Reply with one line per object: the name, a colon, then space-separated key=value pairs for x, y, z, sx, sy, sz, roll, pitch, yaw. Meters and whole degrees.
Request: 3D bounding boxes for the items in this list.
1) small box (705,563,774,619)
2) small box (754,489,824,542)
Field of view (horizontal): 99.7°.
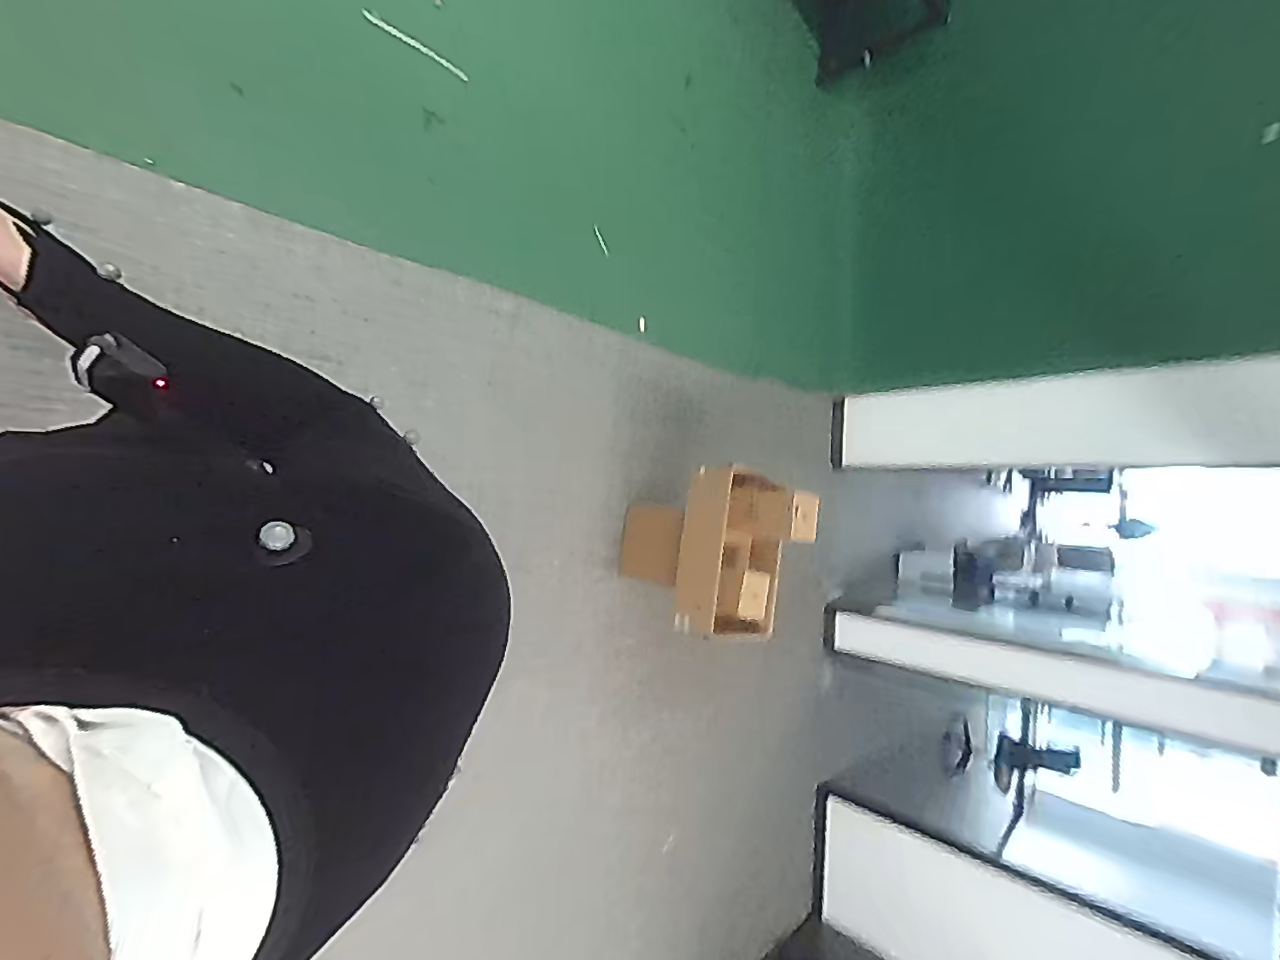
small box: x=0.370 y=0.411 z=2.015 sx=0.179 sy=0.176 sz=0.168 roll=21 pitch=77 yaw=-42
small box: x=0.532 y=0.125 z=1.932 sx=0.179 sy=0.176 sz=0.168 roll=11 pitch=84 yaw=-44
